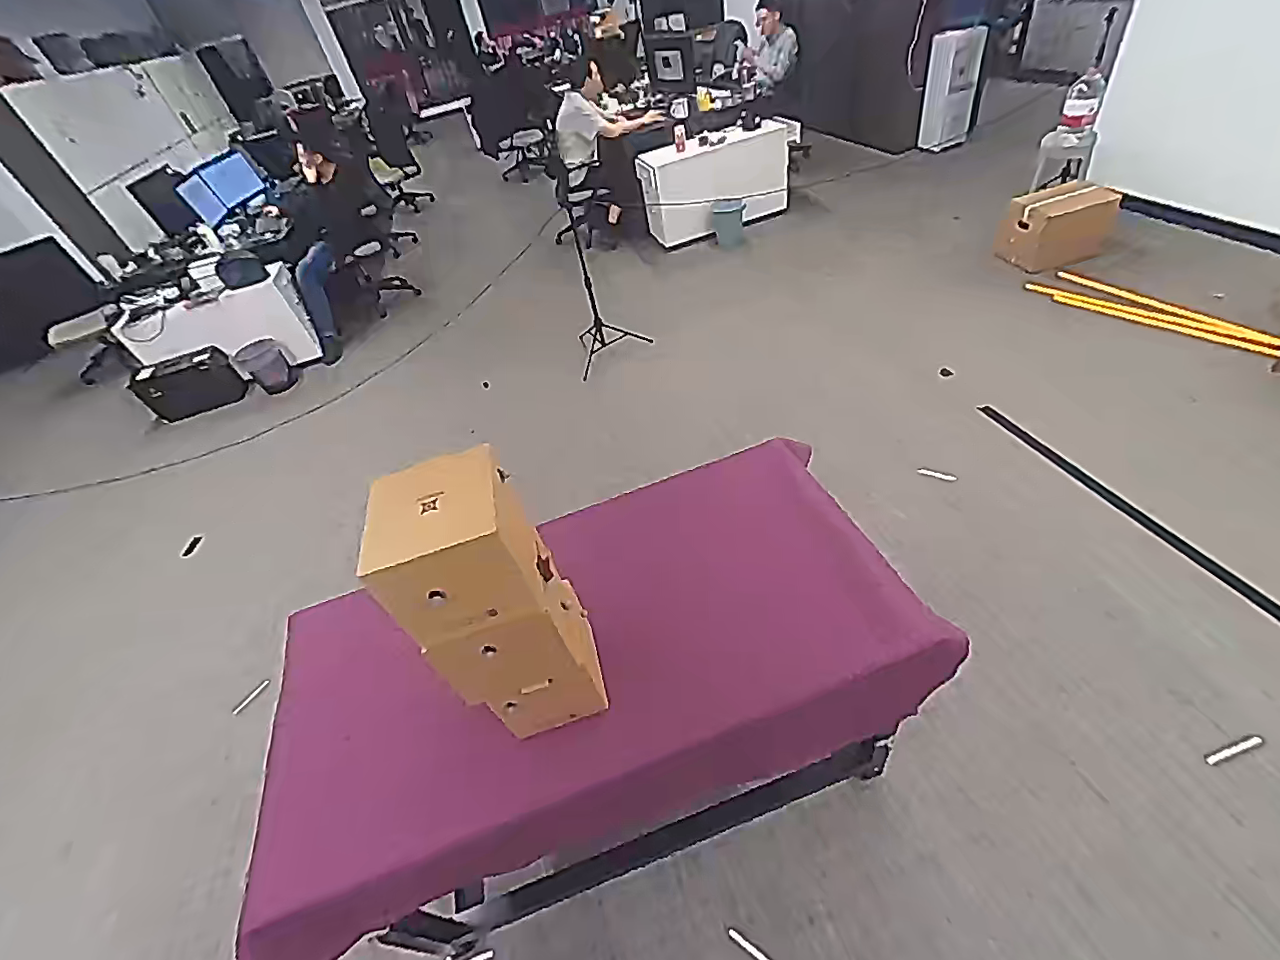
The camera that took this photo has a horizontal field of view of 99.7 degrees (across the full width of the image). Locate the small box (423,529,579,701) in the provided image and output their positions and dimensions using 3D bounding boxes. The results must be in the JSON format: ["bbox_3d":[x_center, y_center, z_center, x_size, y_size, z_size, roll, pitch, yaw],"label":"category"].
[{"bbox_3d":[-0.209,0.210,0.831,0.179,0.176,0.168,-18,43,-4],"label":"small box"}]

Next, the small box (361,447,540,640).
[{"bbox_3d":[-0.242,0.091,0.726,0.168,0.176,0.179,-19,42,-3],"label":"small box"}]
